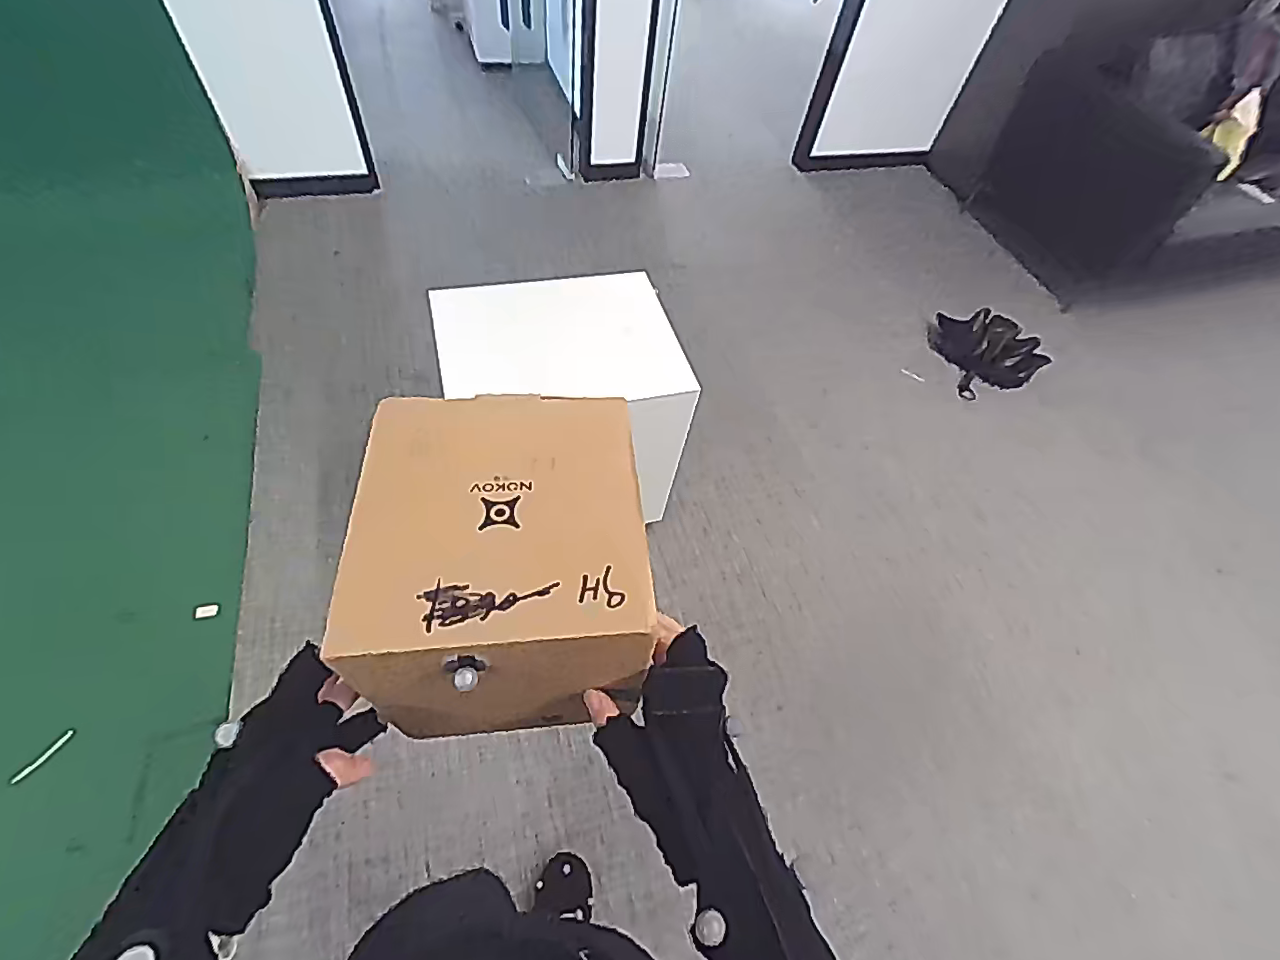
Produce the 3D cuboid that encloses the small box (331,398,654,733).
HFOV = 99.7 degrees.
[{"bbox_3d":[-0.088,0.061,0.389,0.168,0.176,0.179,-3,52,-7],"label":"small box"}]
